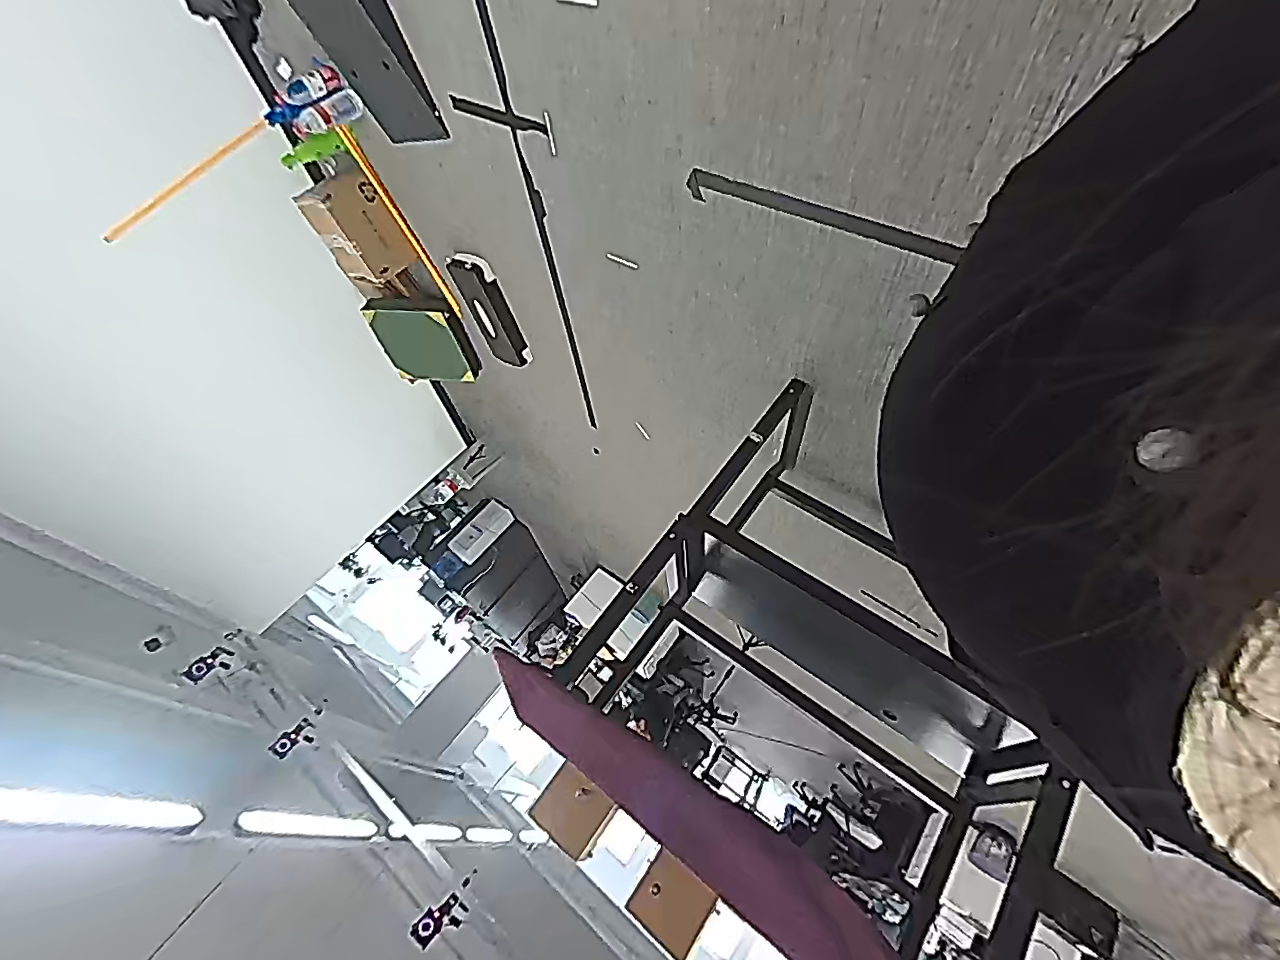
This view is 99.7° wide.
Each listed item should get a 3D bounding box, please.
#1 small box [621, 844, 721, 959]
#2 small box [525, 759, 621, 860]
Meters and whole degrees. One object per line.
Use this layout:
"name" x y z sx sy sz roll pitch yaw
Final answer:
"small box" 0.083 1.040 1.348 0.179 0.176 0.168 28 154 28
"small box" -0.176 0.880 1.458 0.179 0.176 0.168 31 156 23
